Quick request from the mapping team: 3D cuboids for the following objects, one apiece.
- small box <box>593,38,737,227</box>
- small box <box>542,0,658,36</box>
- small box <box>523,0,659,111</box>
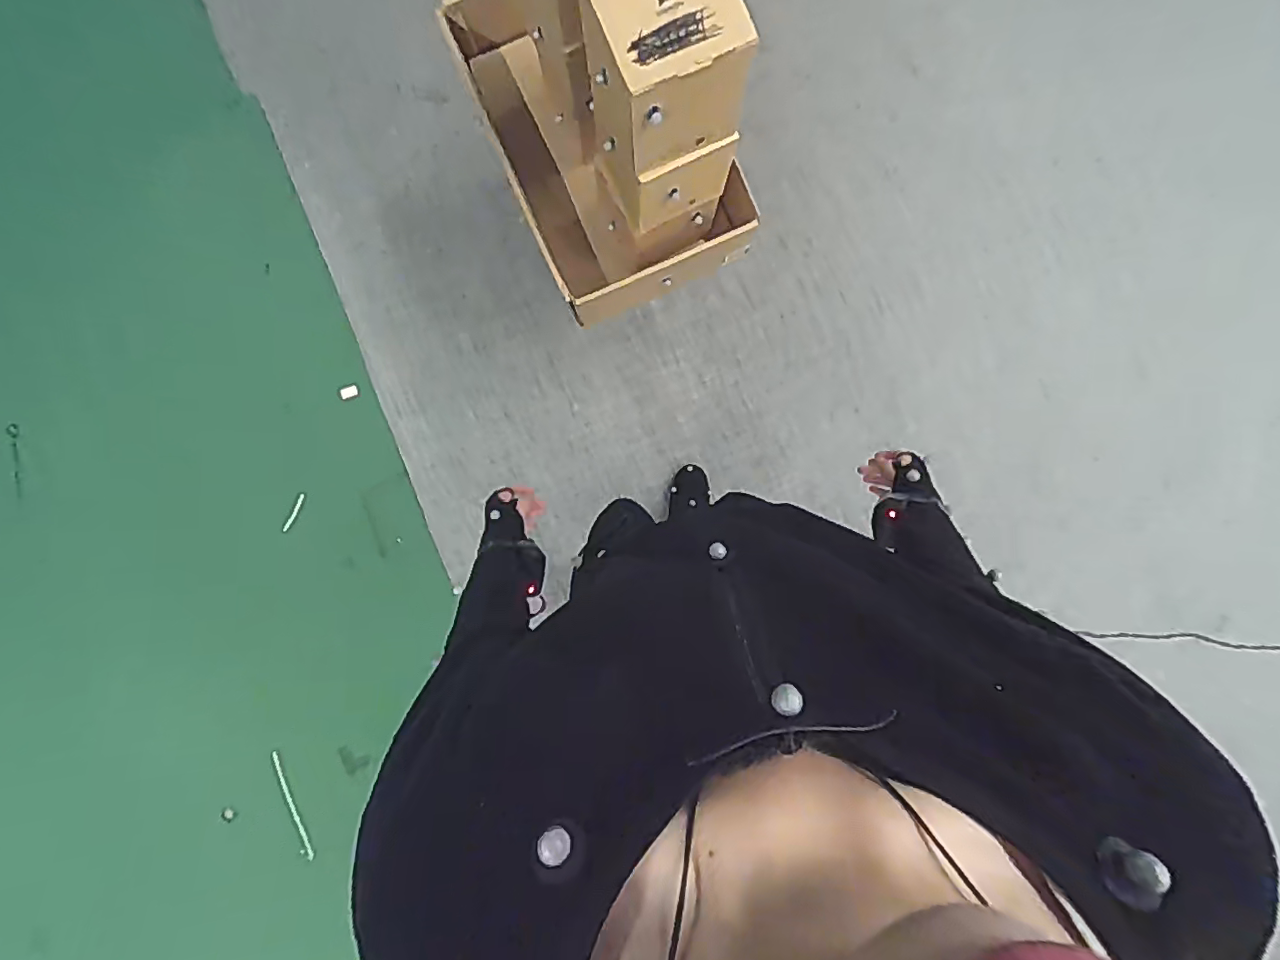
[{"bbox_3d":[0.039,-0.544,0.880,0.168,0.176,0.179,-25,89,0],"label":"small box"},{"bbox_3d":[-0.071,-0.747,0.719,0.168,0.176,0.179,-26,92,-1],"label":"small box"},{"bbox_3d":[-0.081,-0.749,0.881,0.168,0.176,0.179,-29,92,0],"label":"small box"}]
